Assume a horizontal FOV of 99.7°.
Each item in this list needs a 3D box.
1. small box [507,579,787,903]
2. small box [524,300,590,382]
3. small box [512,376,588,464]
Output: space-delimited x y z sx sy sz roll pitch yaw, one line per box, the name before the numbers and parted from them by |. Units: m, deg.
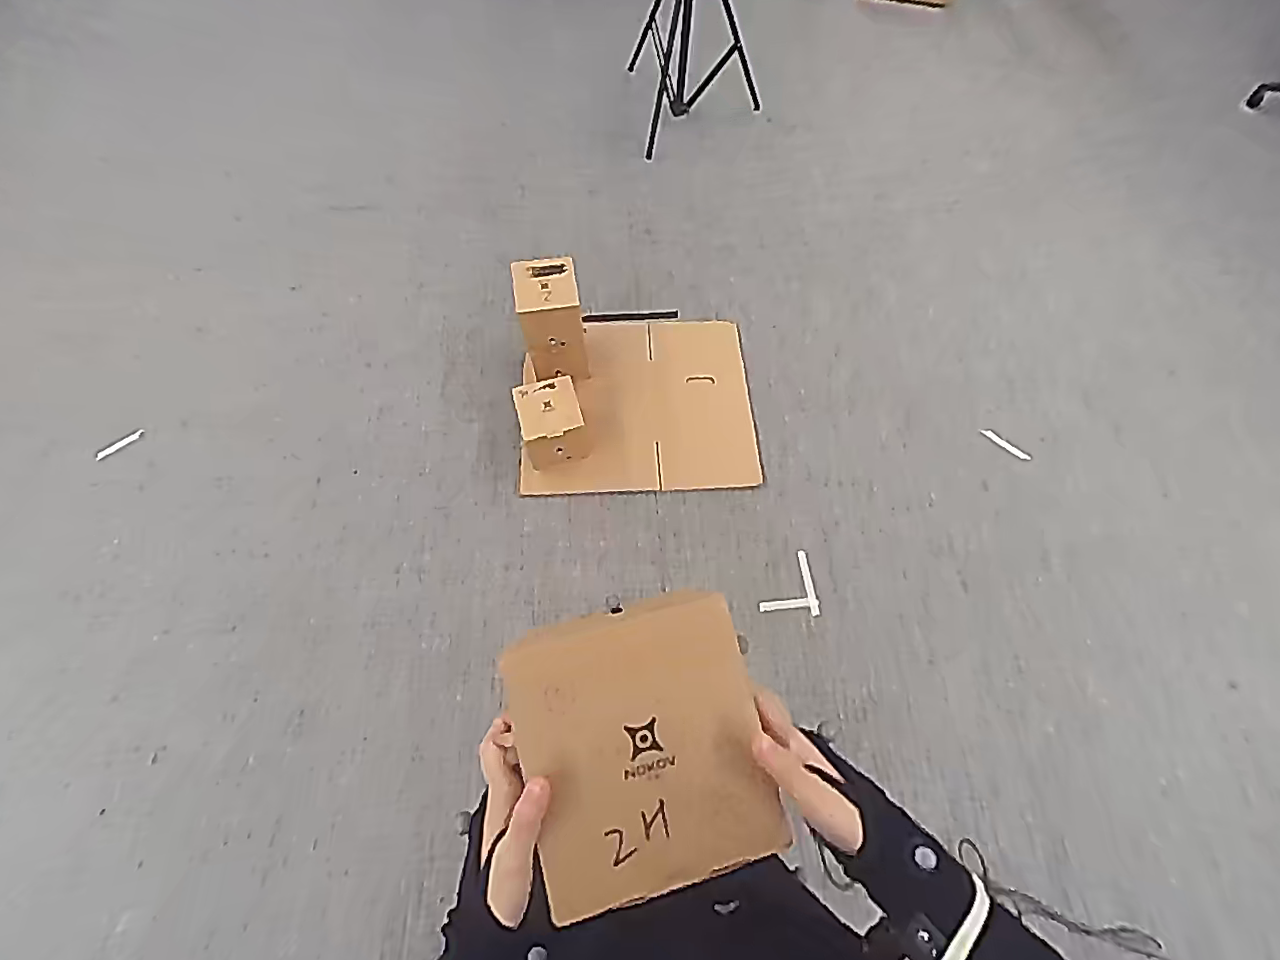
small box | -0.006 0.186 0.445 0.168 0.176 0.179 -12 81 -8
small box | -0.249 -0.413 1.637 0.168 0.176 0.179 -11 66 -6
small box | -0.247 -0.159 1.515 0.168 0.176 0.179 -15 67 -8
